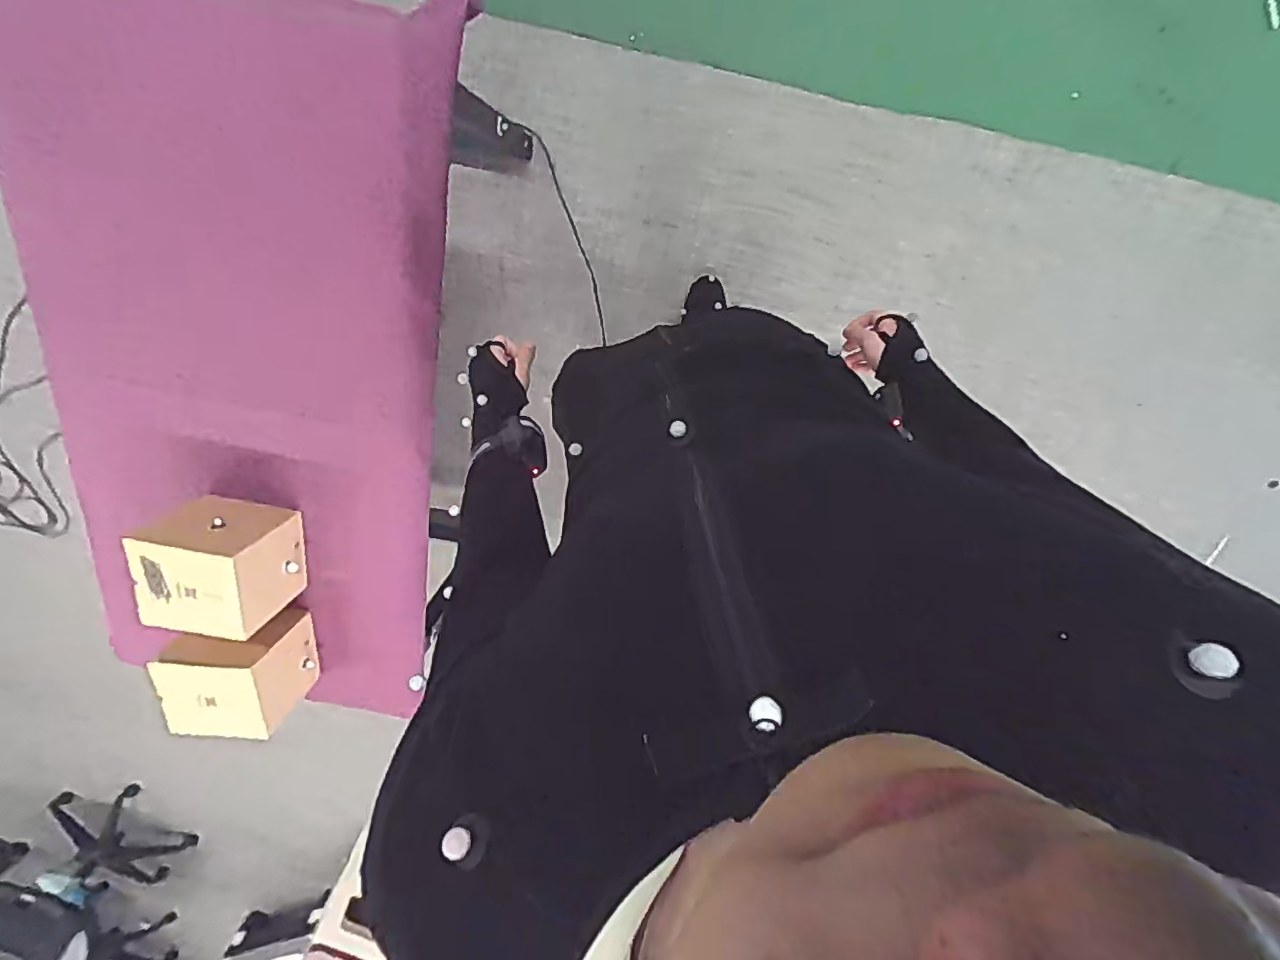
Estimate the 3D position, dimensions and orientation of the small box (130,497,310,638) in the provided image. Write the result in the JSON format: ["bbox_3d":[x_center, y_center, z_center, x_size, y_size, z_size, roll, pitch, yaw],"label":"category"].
[{"bbox_3d":[-0.713,0.143,0.939,0.179,0.176,0.168,10,113,0],"label":"small box"}]

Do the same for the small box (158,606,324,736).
[{"bbox_3d":[-0.744,0.350,1.028,0.179,0.176,0.168,6,113,2],"label":"small box"}]
